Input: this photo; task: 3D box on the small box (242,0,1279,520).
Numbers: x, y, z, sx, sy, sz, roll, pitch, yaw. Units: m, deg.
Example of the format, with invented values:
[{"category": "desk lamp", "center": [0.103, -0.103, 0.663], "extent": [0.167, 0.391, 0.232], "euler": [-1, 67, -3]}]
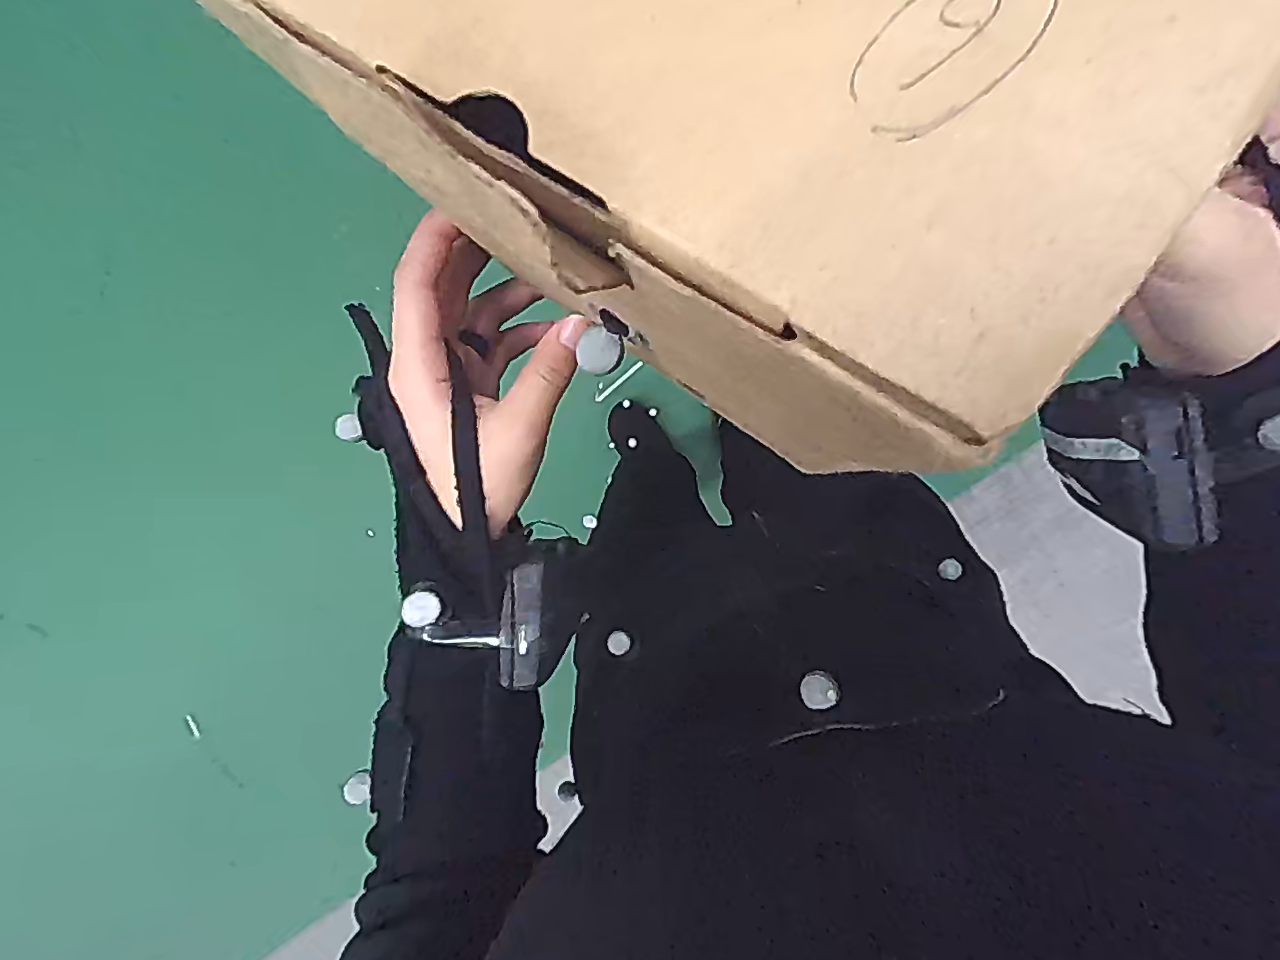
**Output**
[{"category": "small box", "center": [0.048, -0.110, 0.162], "extent": [0.168, 0.176, 0.179], "euler": [35, 97, 8]}]
